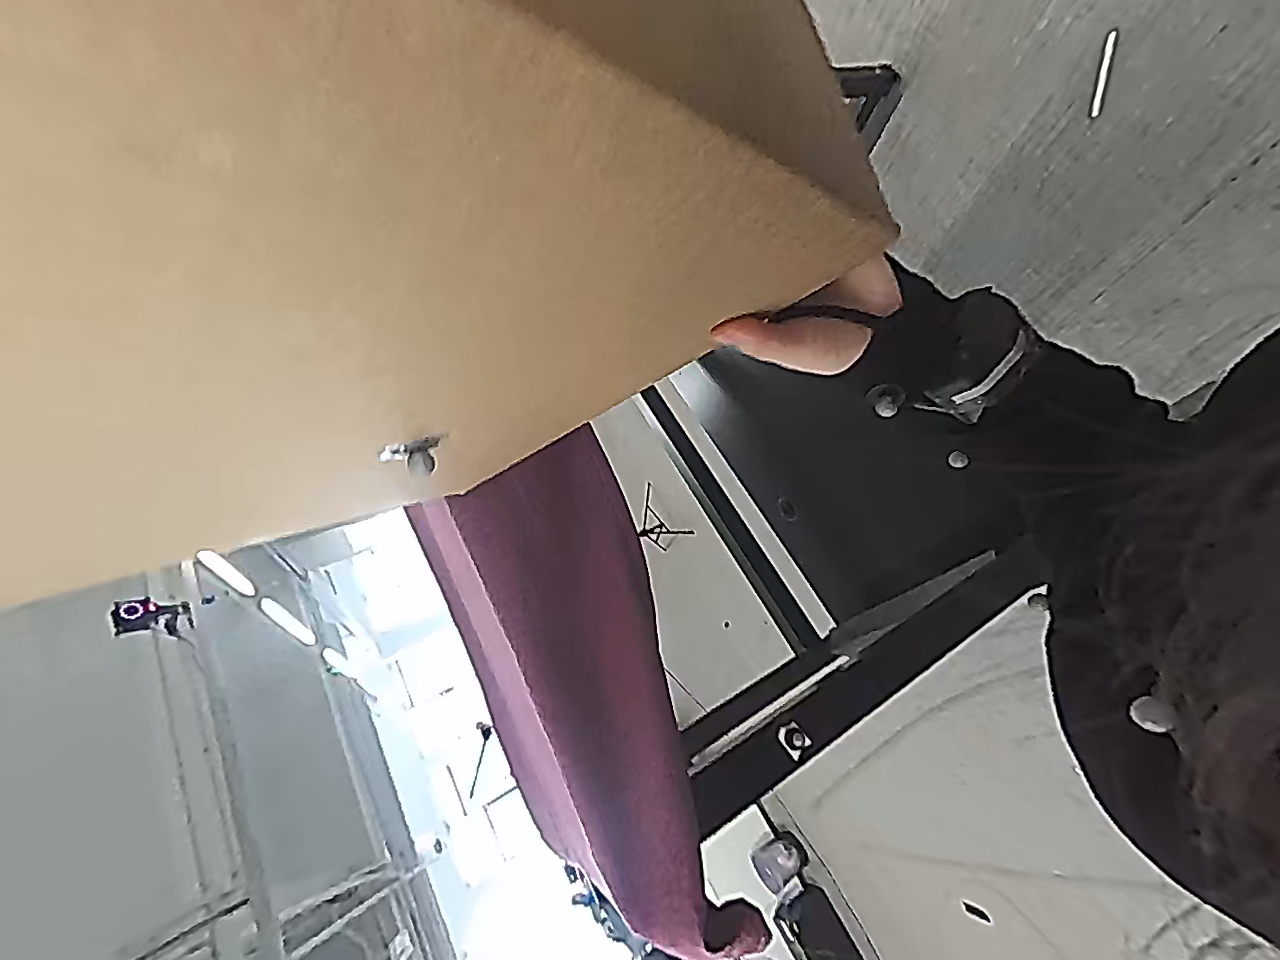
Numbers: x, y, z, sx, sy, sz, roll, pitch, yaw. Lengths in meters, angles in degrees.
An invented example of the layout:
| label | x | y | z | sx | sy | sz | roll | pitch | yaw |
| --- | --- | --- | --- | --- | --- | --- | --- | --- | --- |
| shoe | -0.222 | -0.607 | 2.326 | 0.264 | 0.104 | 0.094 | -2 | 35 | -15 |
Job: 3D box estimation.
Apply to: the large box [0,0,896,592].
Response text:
| label | x | y | z | sx | sy | sz | roll | pitch | yaw |
| --- | --- | --- | --- | --- | --- | --- | --- | --- | --- |
| large box | -0.170 | -0.168 | 0.254 | 0.408 | 0.320 | 0.320 | -22 | 86 | 42 |
